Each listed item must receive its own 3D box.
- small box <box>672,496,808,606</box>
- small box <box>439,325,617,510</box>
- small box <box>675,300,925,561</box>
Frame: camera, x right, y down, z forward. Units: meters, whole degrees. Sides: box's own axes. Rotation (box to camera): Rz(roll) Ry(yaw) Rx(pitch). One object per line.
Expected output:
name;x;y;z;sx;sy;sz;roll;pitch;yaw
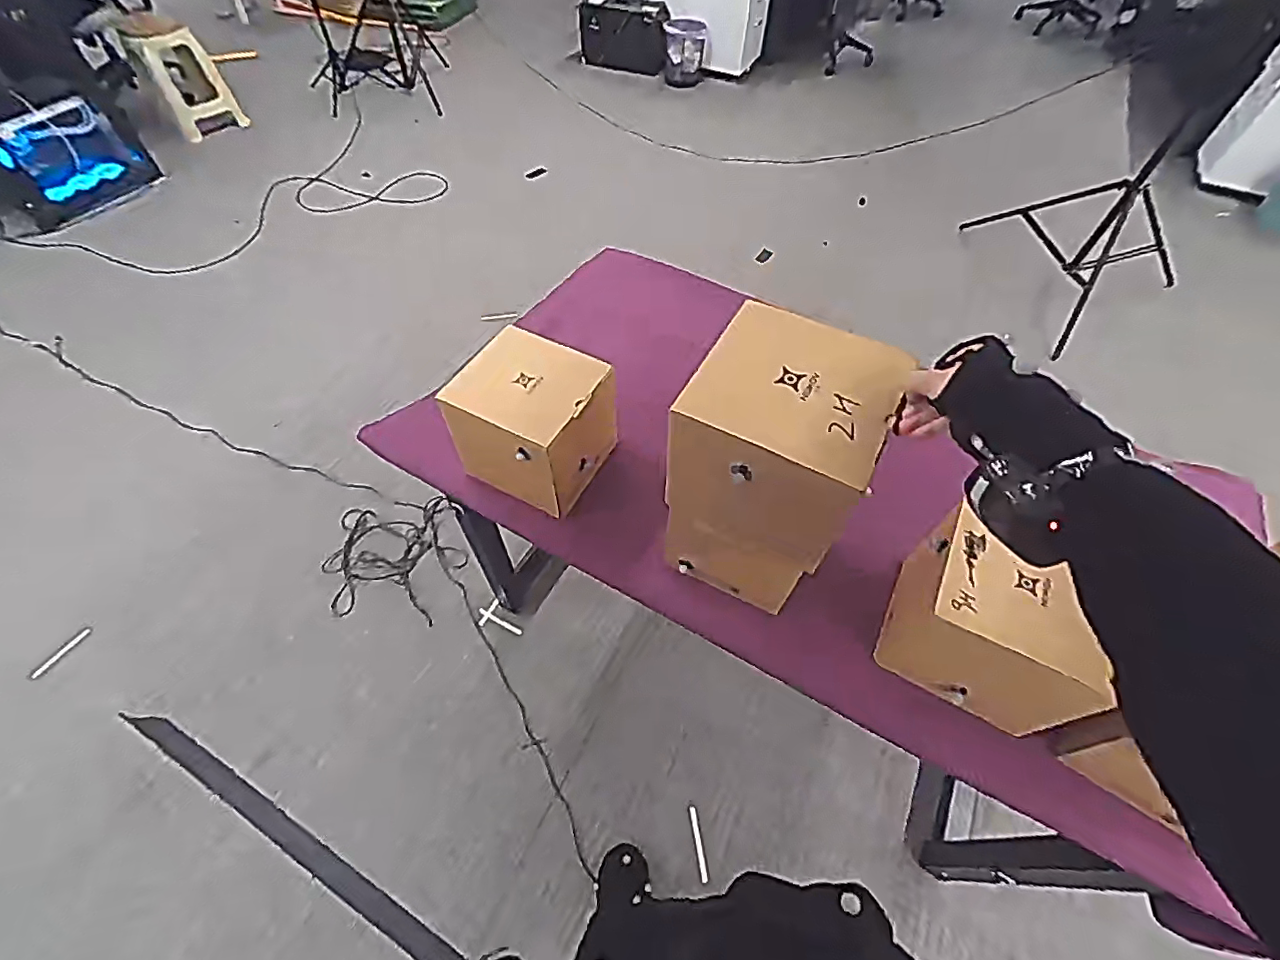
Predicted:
small box;0.148;0.035;0.697;0.168;0.176;0.179;23;57;13
small box;-0.147;-0.084;0.770;0.179;0.176;0.168;24;58;14
small box;0.146;-0.043;0.547;0.179;0.176;0.168;26;62;16
